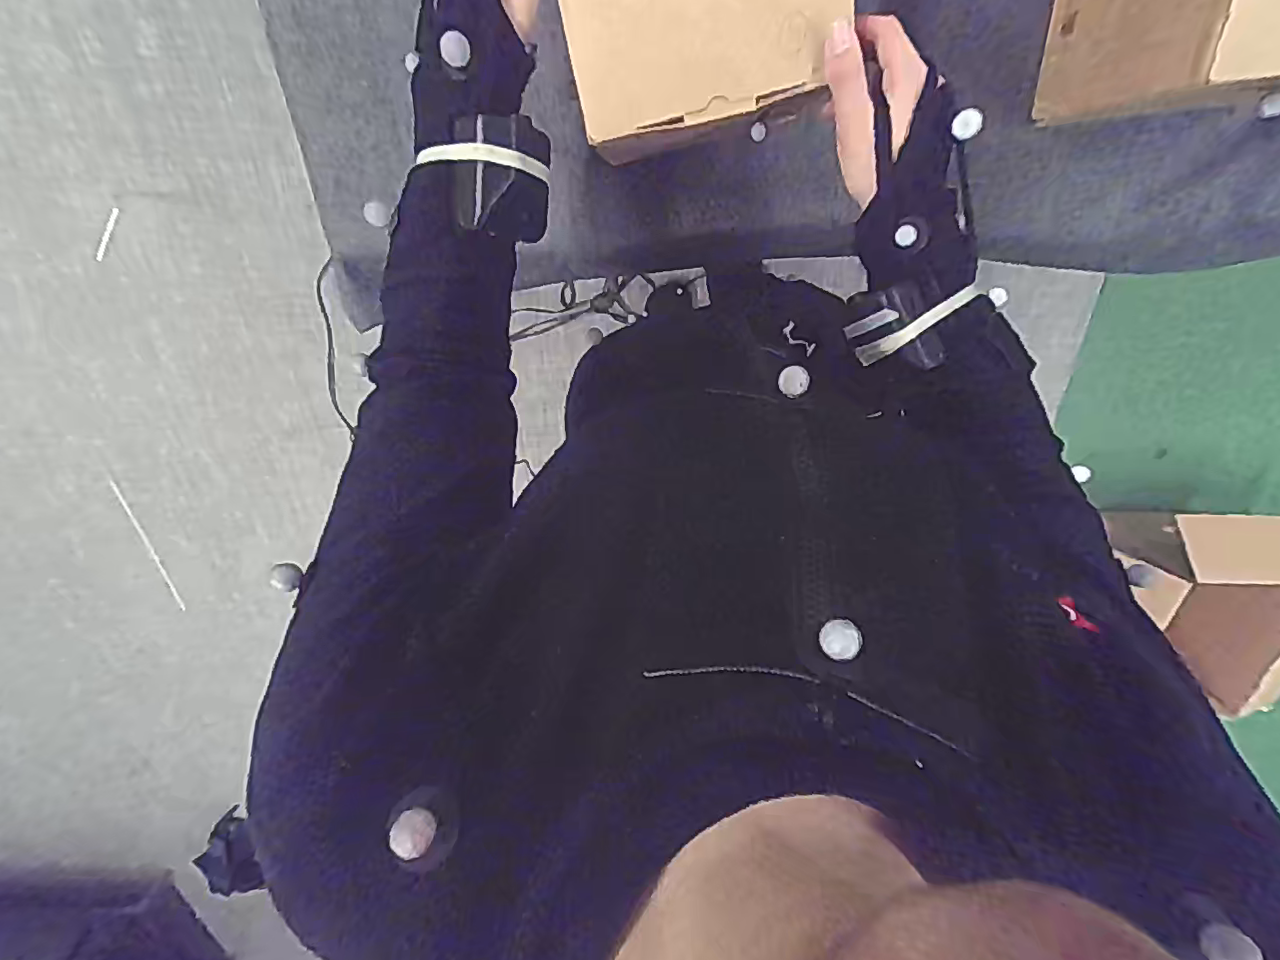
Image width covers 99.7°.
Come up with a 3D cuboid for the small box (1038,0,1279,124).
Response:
[{"bbox_3d":[0.408,-0.339,0.342,0.179,0.176,0.168,-3,116,5],"label":"small box"}]
